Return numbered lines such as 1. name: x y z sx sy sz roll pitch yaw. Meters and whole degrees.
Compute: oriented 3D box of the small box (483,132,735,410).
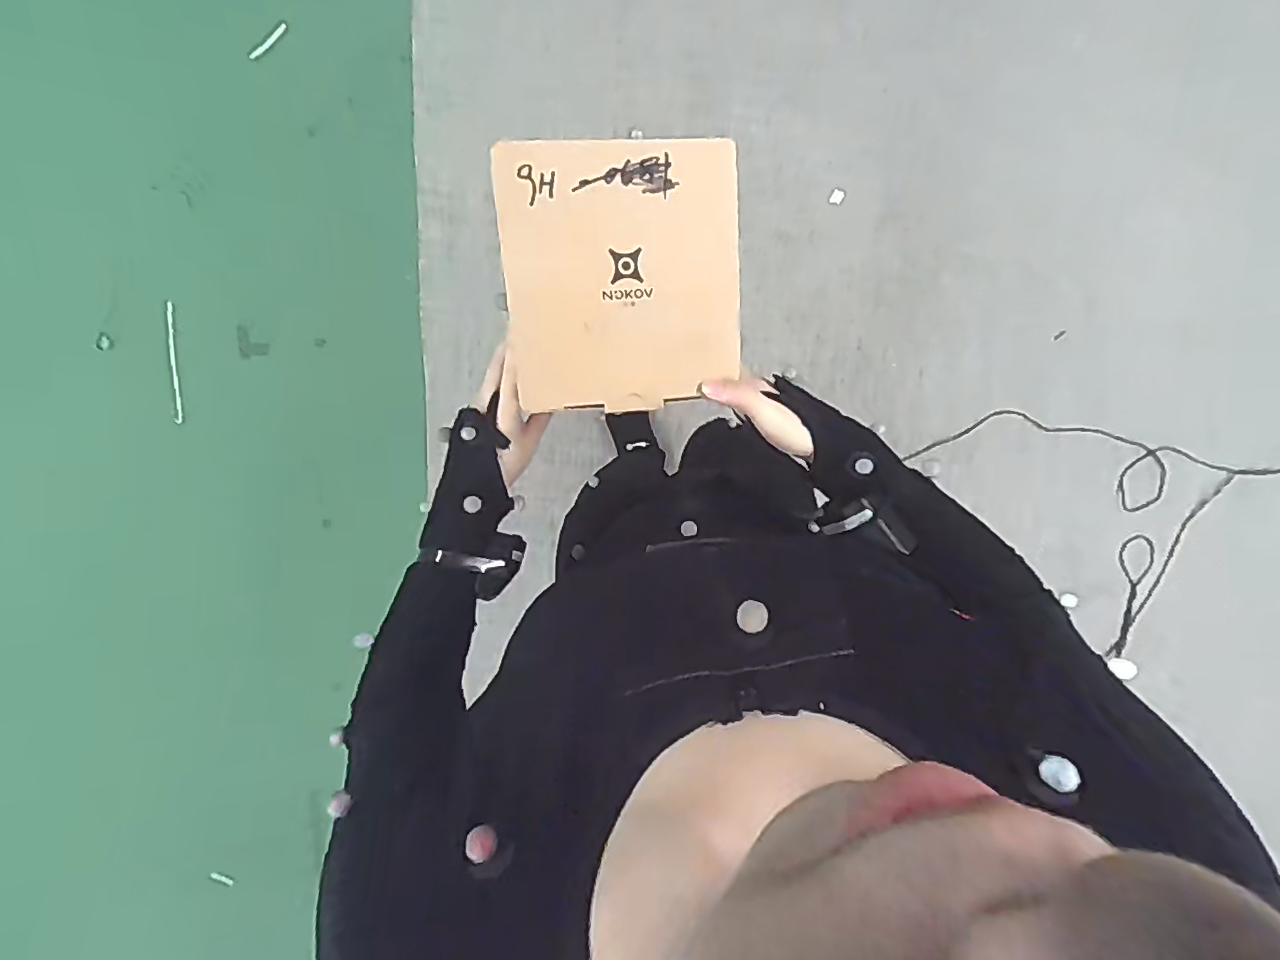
1. small box: -0.026 -0.160 0.445 0.168 0.176 0.179 -5 105 -8
